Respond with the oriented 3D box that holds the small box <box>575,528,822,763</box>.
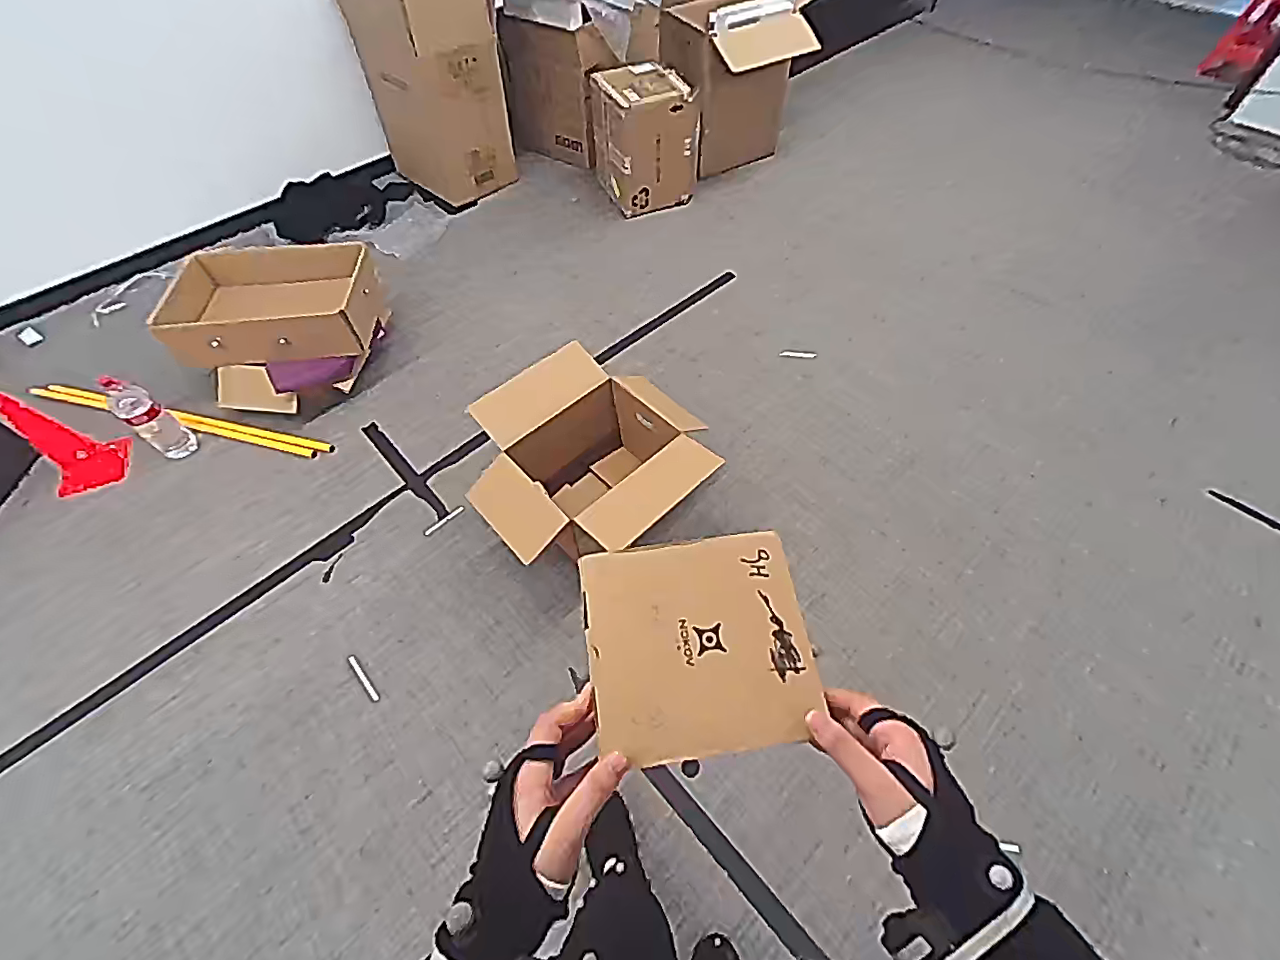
[{"bbox_3d":[0.041,0.161,0.503,0.179,0.176,0.168,-7,63,-4],"label":"small box"}]
